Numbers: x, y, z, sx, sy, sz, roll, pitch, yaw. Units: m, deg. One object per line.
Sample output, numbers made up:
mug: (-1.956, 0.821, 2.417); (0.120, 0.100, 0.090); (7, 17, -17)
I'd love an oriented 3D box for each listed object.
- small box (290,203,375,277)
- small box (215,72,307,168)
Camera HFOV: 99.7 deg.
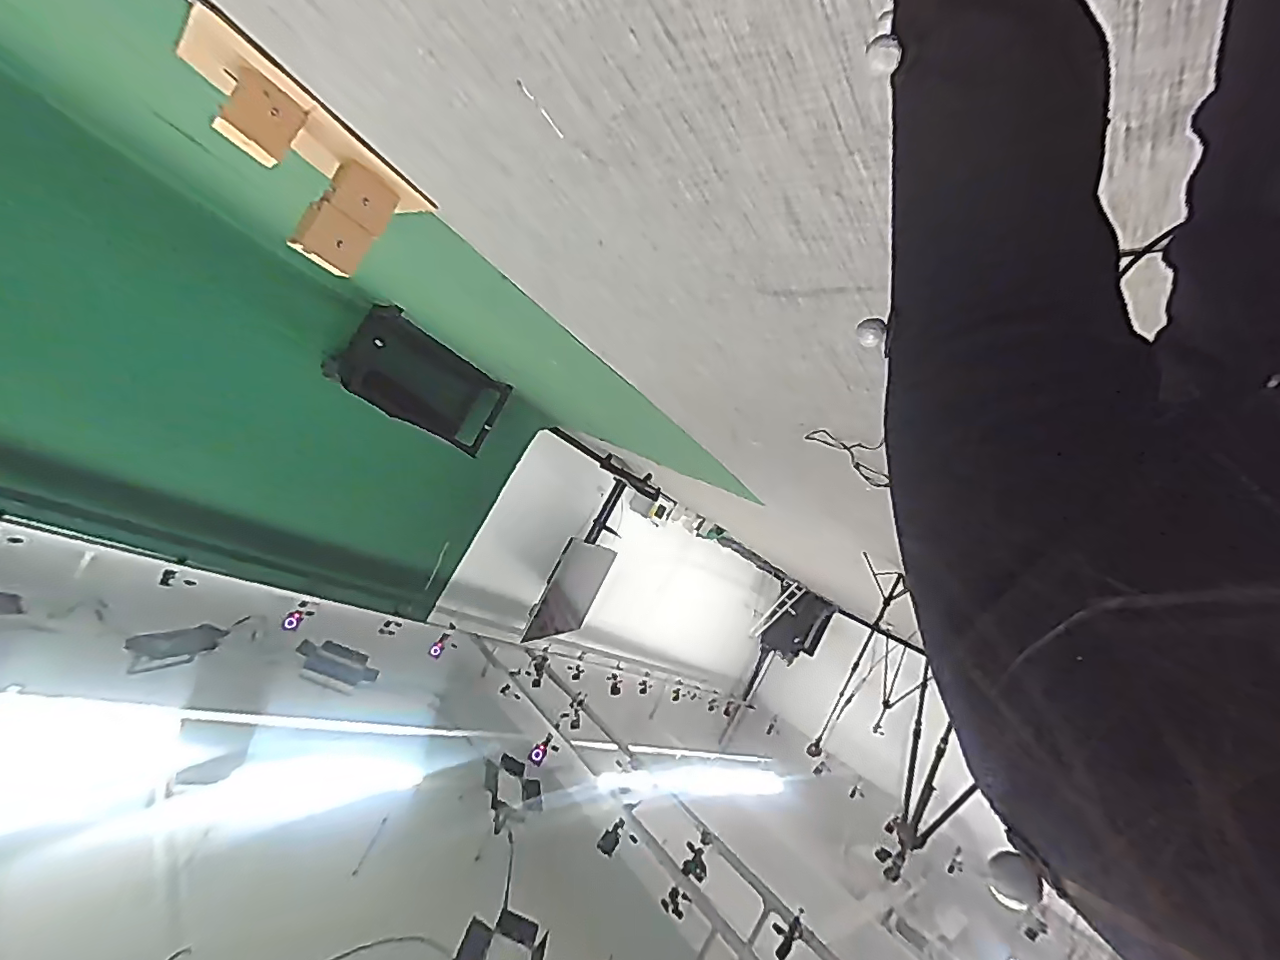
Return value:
small box: (-1.061, -0.830, 1.868); (0.168, 0.176, 0.179); (25, 176, 40)
small box: (-1.155, -1.095, 1.652); (0.179, 0.176, 0.168); (23, 173, 44)
